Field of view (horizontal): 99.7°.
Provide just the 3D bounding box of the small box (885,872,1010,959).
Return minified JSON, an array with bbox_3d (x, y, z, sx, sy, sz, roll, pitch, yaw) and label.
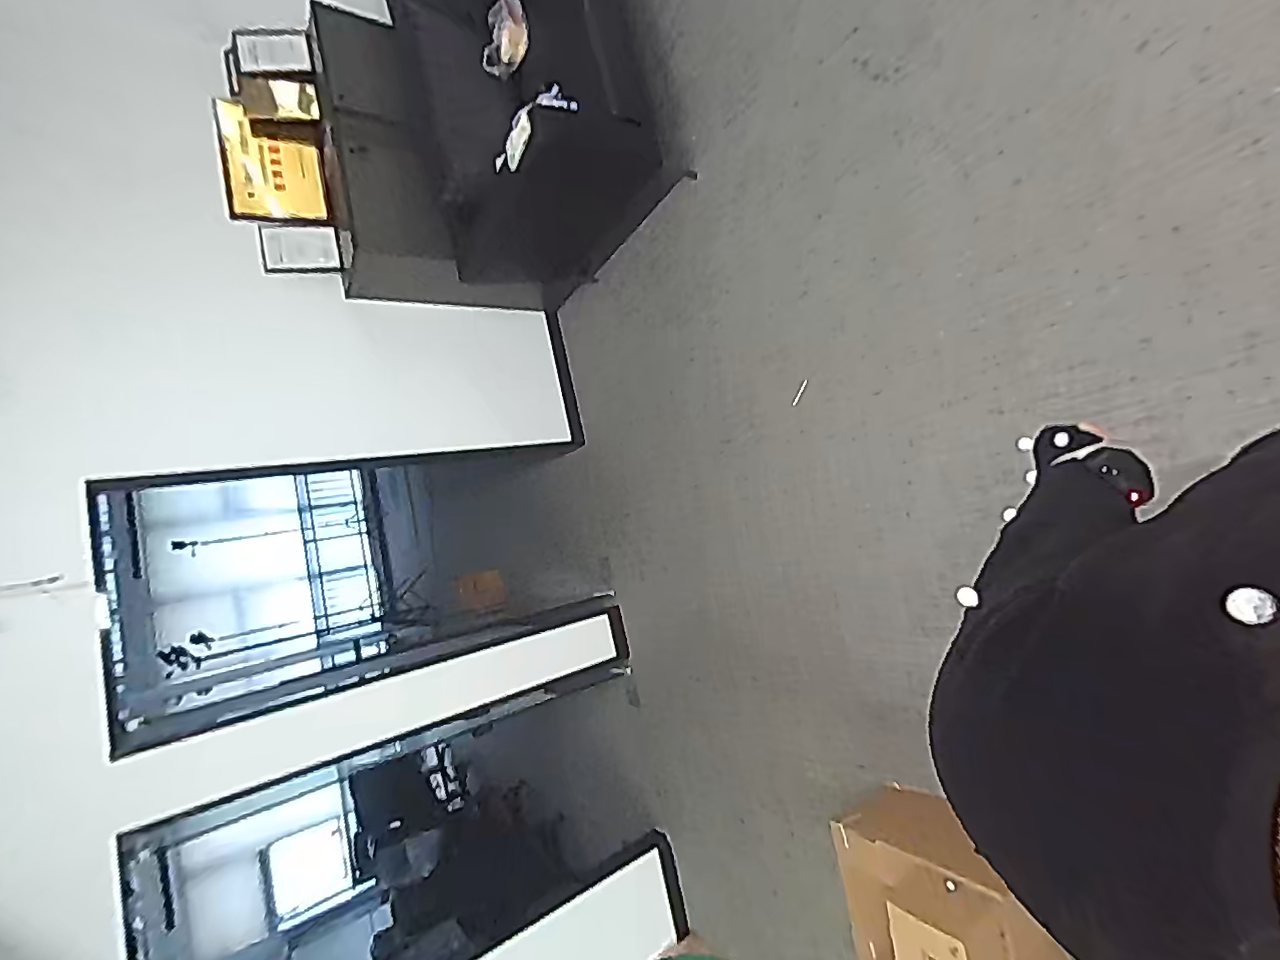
[{"bbox_3d":[0.681,1.017,1.198,0.179,0.176,0.168,-13,85,57],"label":"small box"}]
